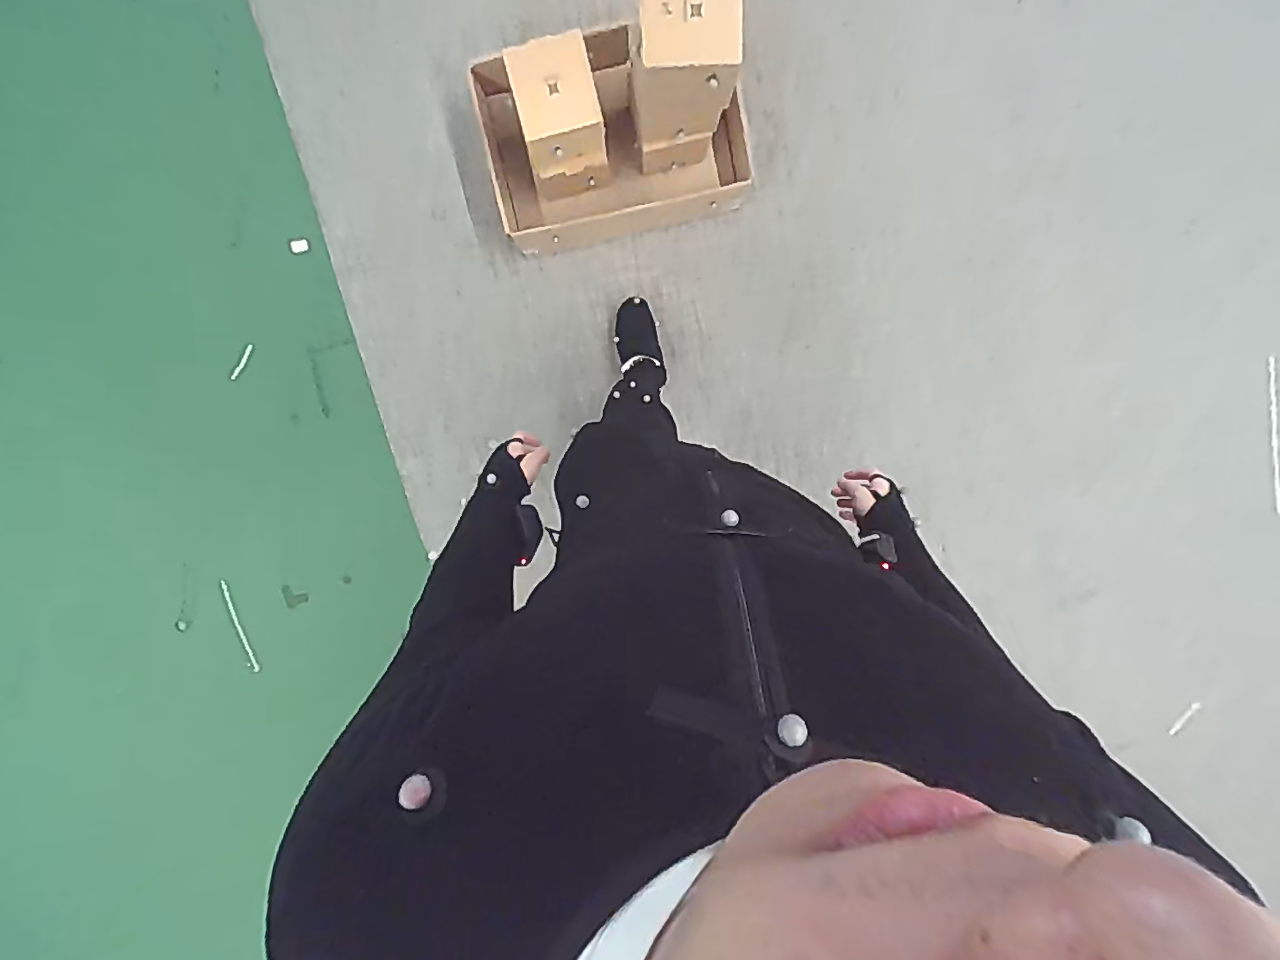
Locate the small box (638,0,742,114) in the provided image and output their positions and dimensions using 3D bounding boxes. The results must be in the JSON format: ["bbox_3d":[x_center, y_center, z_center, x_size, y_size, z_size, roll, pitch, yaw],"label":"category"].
[{"bbox_3d":[0.085,-0.798,0.990,0.179,0.176,0.168,-1,101,1],"label":"small box"}]

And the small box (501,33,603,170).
[{"bbox_3d":[-0.180,-0.796,1.163,0.168,0.176,0.179,-14,99,1],"label":"small box"}]

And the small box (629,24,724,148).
[{"bbox_3d":[0.073,-0.840,1.151,0.179,0.176,0.168,-9,100,2],"label":"small box"}]
